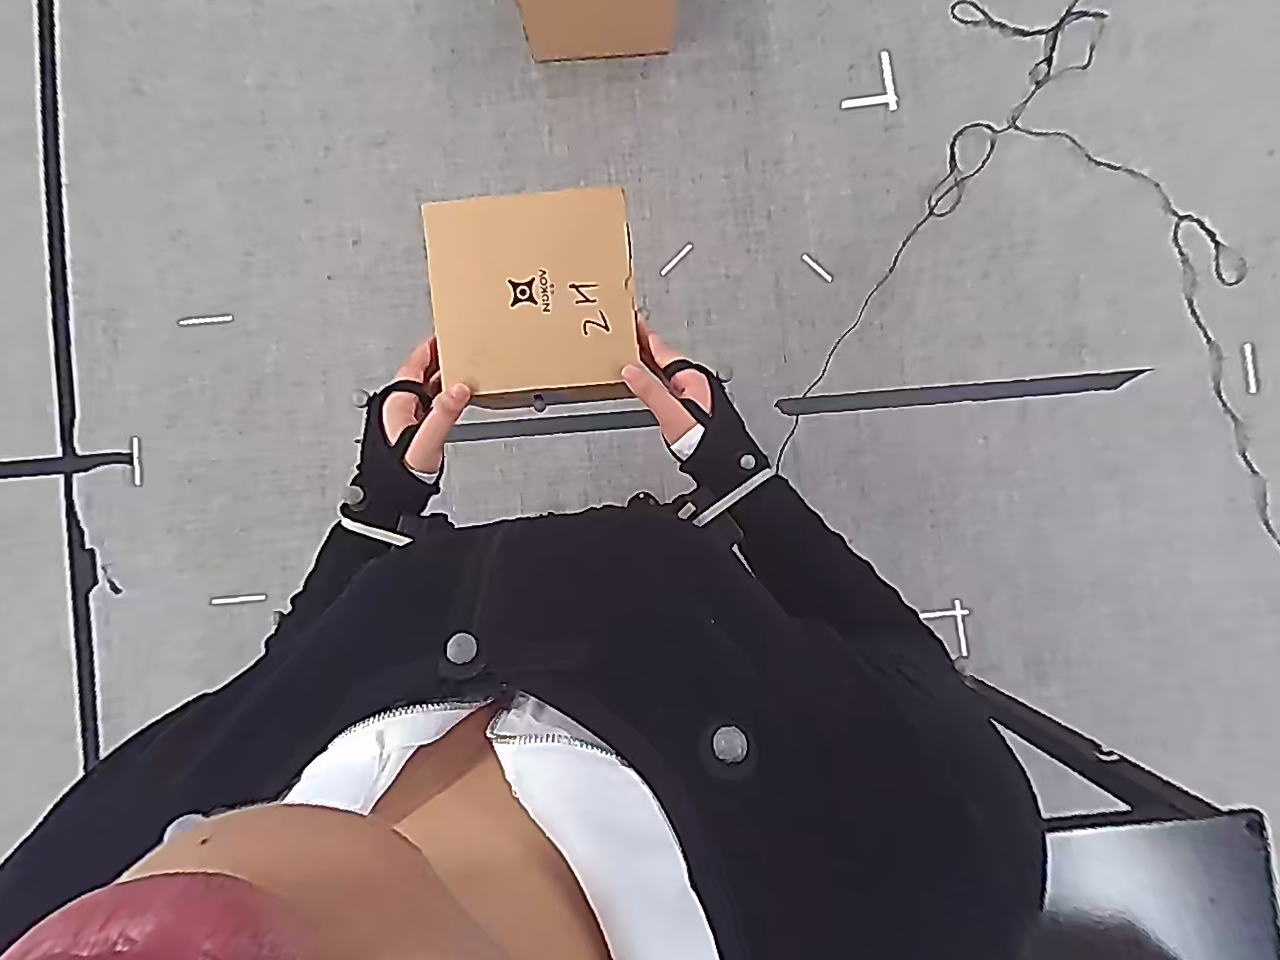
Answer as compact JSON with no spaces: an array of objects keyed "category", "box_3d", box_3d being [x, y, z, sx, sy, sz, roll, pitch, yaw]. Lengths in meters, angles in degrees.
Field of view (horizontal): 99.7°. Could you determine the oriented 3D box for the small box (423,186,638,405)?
[{"category":"small box","box_3d":[-0.094,-0.169,0.546,0.179,0.176,0.168,-5,94,-1]}]
